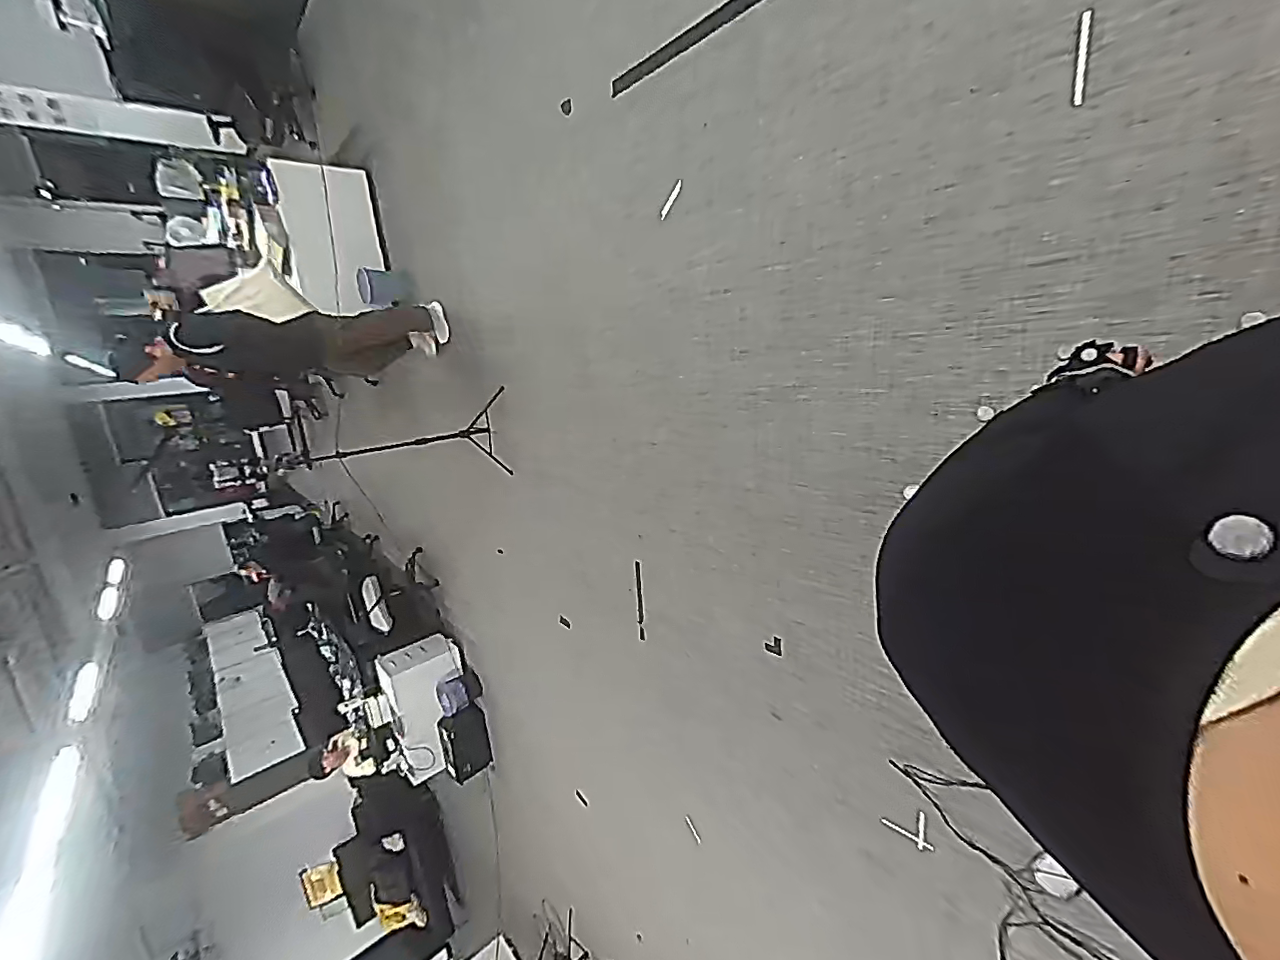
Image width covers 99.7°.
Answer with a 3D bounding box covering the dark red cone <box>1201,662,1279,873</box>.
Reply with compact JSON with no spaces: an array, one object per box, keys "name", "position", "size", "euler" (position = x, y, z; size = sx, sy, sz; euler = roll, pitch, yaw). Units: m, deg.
[{"name":"dark red cone","position":[1.038,0.484,0.874],"size":[0.201,0.394,0.202],"euler":[11,112,49]}]
